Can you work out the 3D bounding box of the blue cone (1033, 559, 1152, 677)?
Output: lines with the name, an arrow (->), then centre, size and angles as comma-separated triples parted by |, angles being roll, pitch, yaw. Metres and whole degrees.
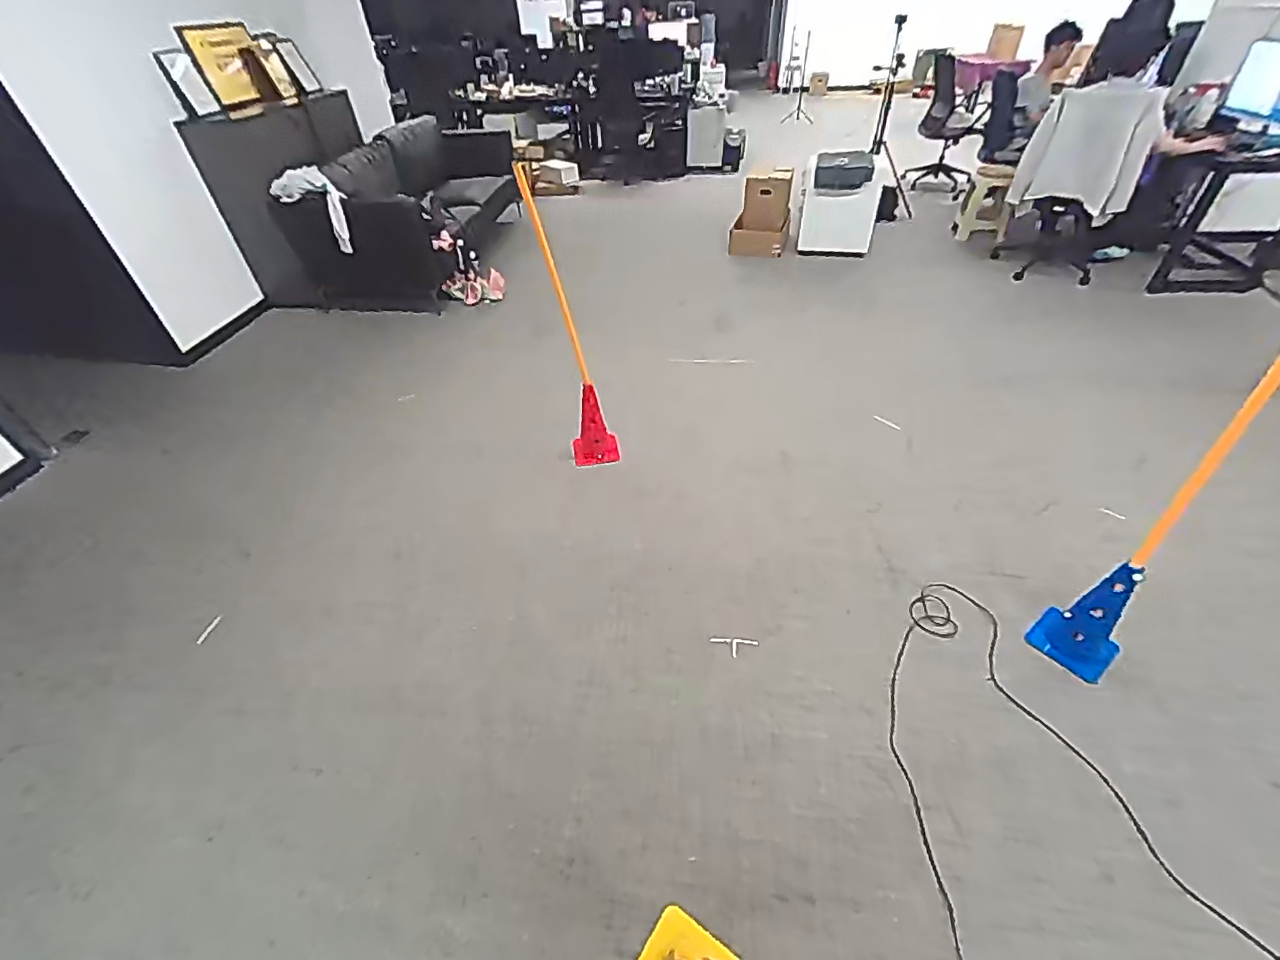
blue cone -> 1.309, 0.358, 1.529 | 0.193, 0.380, 0.192 | -28, 46, -28
